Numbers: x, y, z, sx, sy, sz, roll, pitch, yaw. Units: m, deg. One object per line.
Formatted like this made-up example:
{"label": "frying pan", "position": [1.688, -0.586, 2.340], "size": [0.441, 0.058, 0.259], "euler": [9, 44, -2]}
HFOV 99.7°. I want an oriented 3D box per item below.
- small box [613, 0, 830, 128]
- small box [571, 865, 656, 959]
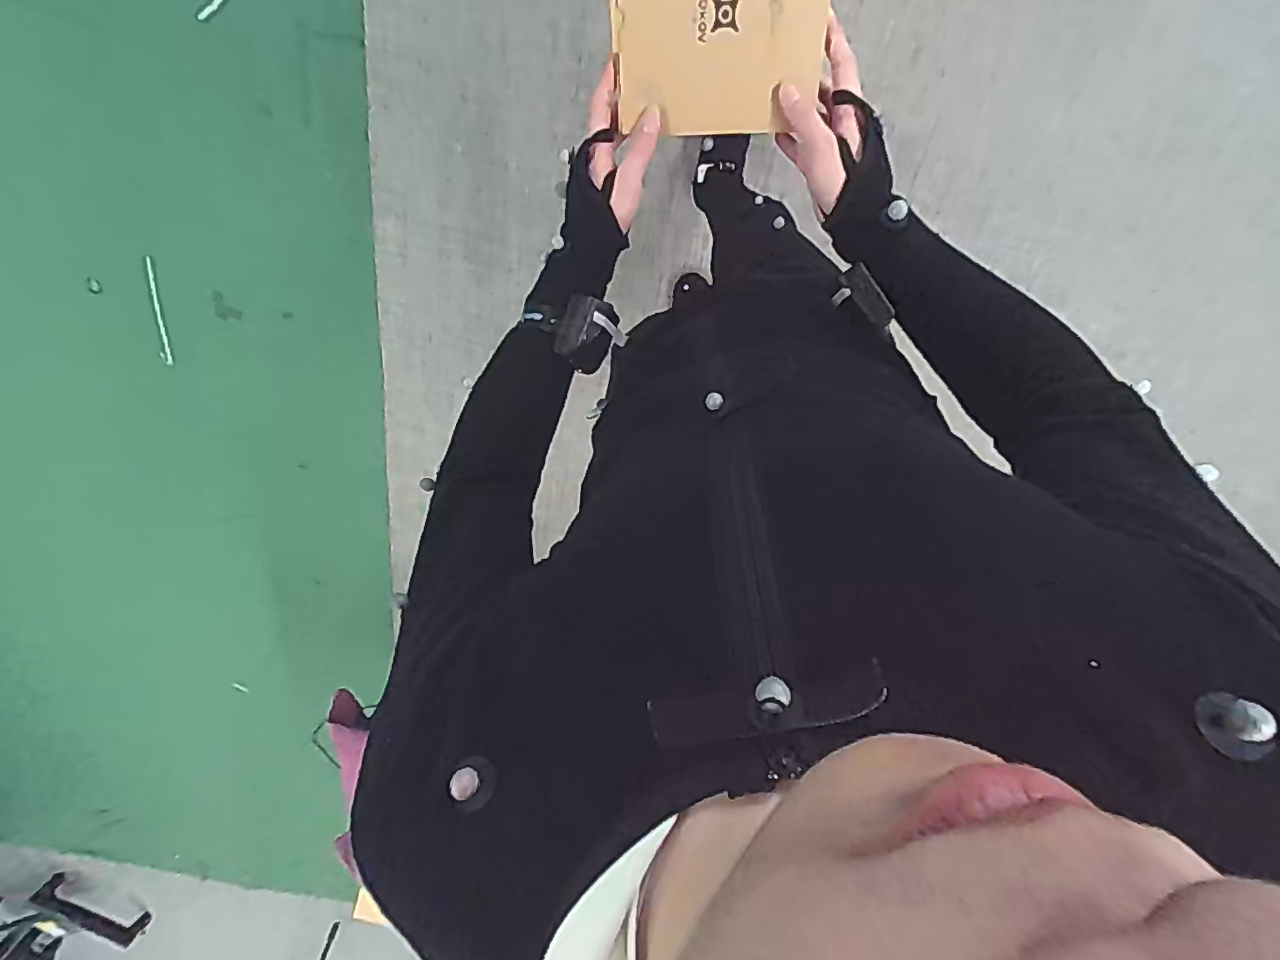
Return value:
{"label": "small box", "position": [0.069, -0.426, 0.501], "size": [0.179, 0.176, 0.168], "euler": [1, 125, 3]}
{"label": "small box", "position": [-0.066, 1.164, 1.435], "size": [0.179, 0.176, 0.168], "euler": [18, 117, -5]}
